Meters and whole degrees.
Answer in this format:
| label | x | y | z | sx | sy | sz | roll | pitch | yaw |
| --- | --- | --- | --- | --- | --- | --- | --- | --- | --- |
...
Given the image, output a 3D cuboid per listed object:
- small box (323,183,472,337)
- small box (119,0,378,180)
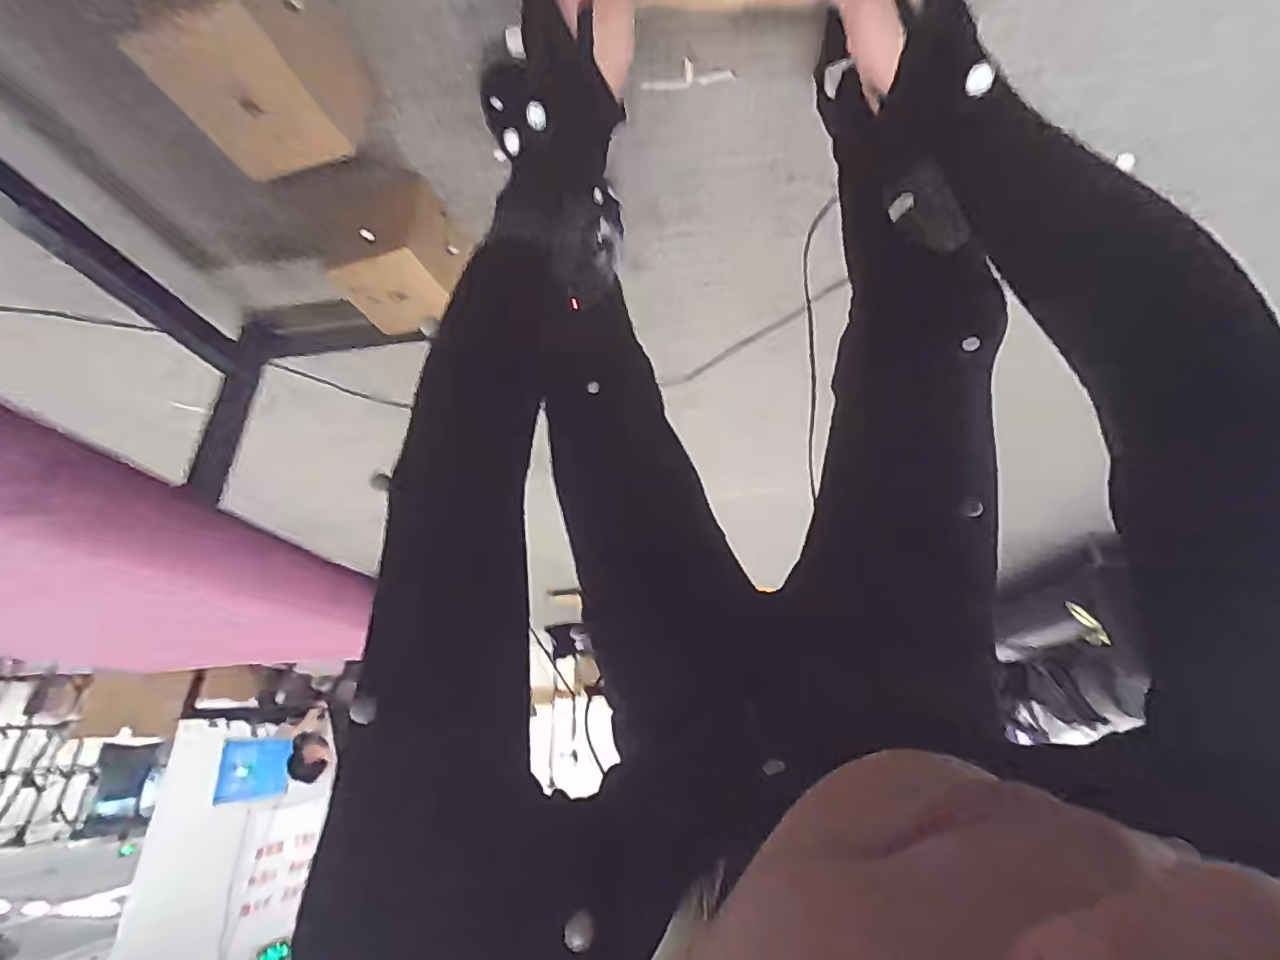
| label | x | y | z | sx | sy | sz | roll | pitch | yaw |
| --- | --- | --- | --- | --- | --- | --- | --- | --- | --- |
| small box | -0.411 | -0.384 | 0.950 | 0.179 | 0.176 | 0.168 | -8 | 154 | 14 |
| small box | -0.460 | -0.519 | 0.667 | 0.168 | 0.176 | 0.179 | -6 | 155 | 12 |
